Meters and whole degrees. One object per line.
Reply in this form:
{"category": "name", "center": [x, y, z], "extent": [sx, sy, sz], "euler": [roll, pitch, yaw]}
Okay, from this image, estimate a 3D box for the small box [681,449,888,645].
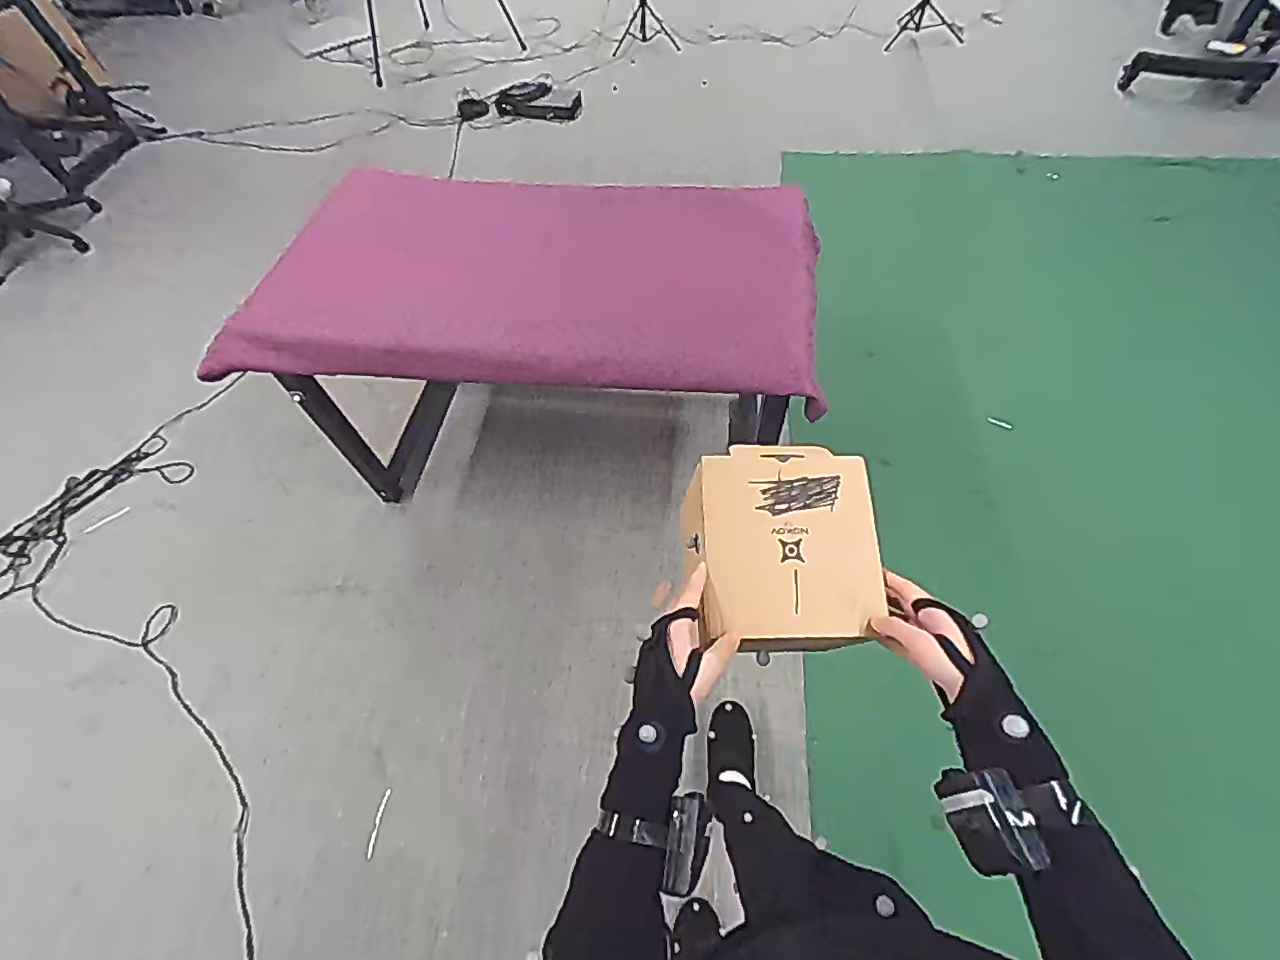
{"category": "small box", "center": [0.137, 0.080, 0.585], "extent": [0.168, 0.176, 0.179], "euler": [0, 69, -2]}
